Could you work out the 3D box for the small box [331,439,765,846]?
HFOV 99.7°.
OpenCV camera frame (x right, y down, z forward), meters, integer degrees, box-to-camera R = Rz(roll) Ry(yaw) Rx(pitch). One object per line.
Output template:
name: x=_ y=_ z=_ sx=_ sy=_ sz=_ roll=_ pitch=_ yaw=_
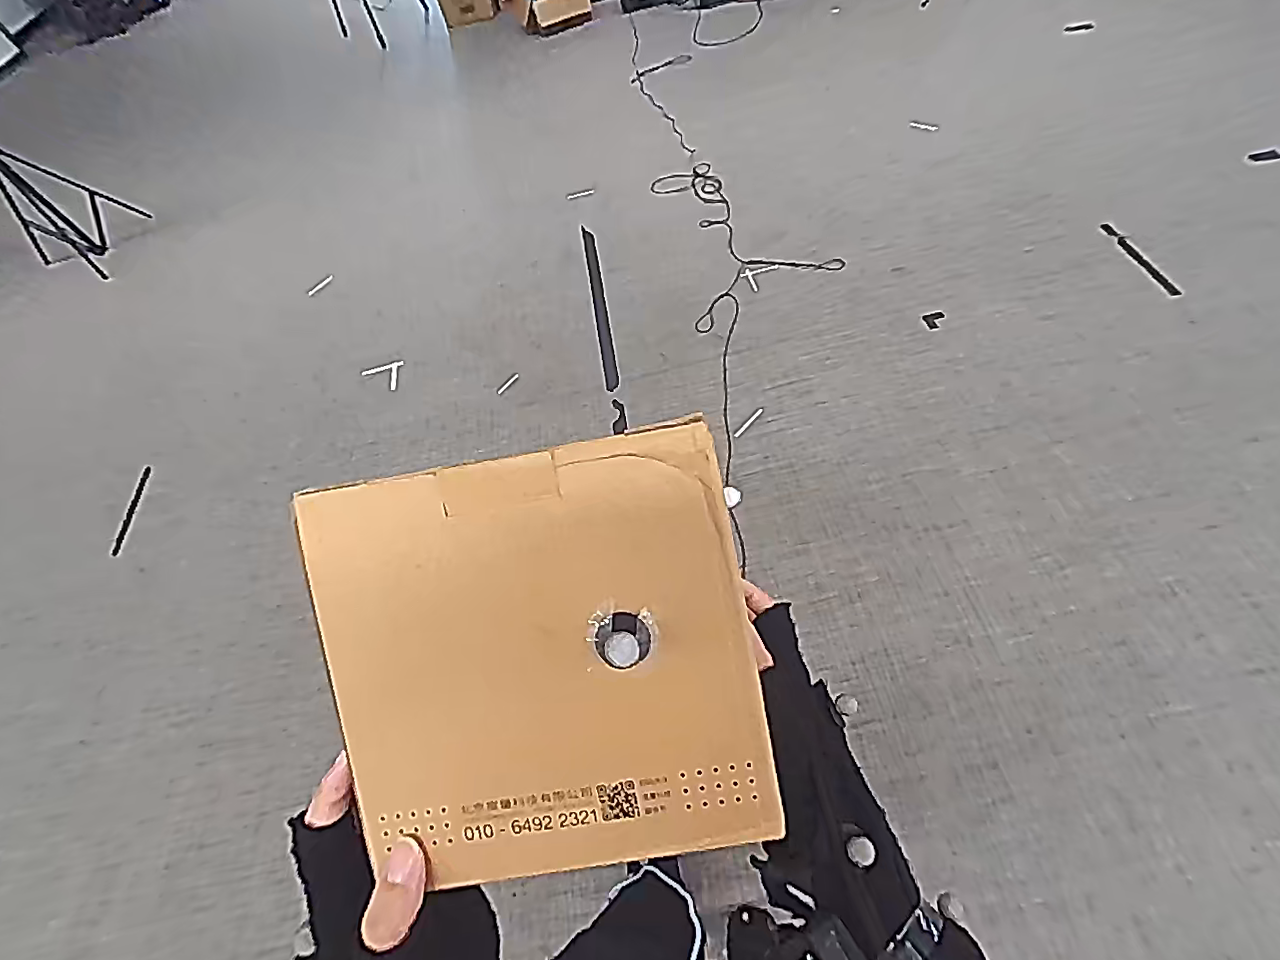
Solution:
small box: x=-0.032 y=0.076 z=0.311 sx=0.168 sy=0.179 sz=0.176 roll=-10 pitch=93 yaw=5
